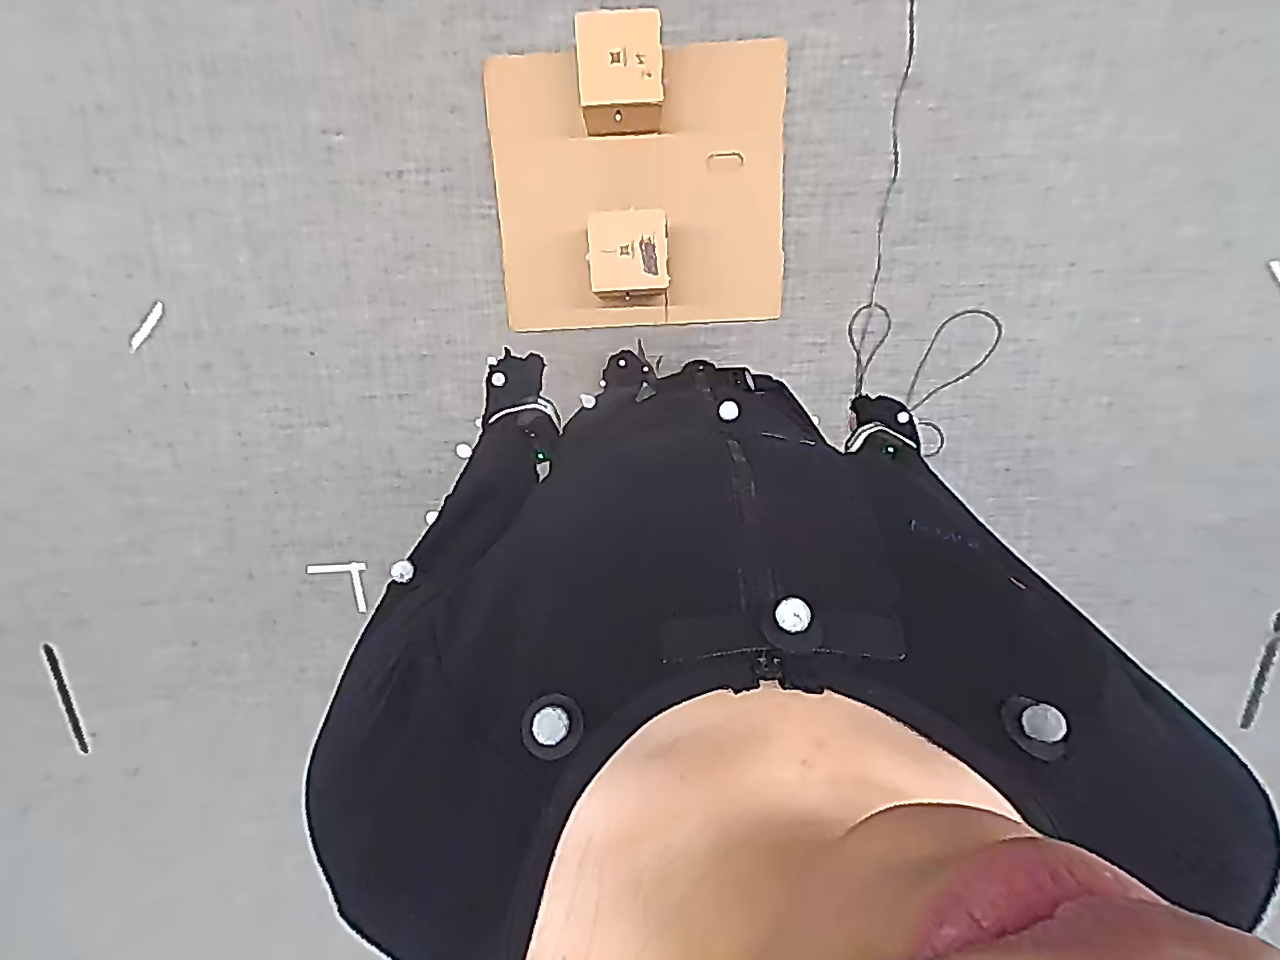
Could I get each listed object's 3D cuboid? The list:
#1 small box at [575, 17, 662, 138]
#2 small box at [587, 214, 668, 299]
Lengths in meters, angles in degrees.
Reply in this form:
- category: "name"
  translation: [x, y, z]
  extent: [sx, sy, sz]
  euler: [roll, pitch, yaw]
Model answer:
- category: "small box"
  translation: [-0.043, -0.873, 1.189]
  extent: [0.179, 0.176, 0.168]
  euler: [-3, 105, 0]
- category: "small box"
  translation: [-0.028, -0.523, 1.280]
  extent: [0.179, 0.176, 0.168]
  euler: [-3, 104, 1]
